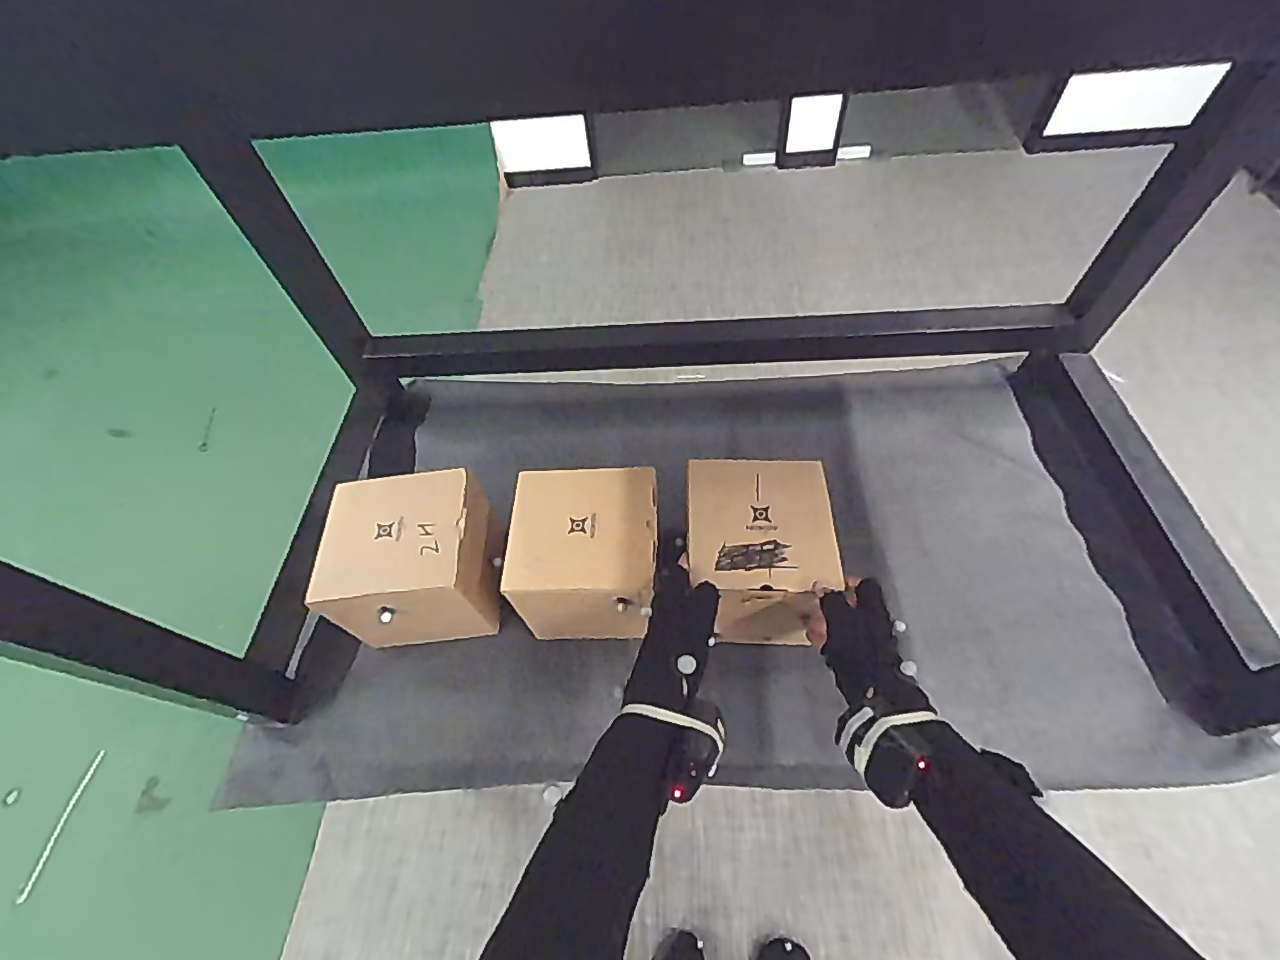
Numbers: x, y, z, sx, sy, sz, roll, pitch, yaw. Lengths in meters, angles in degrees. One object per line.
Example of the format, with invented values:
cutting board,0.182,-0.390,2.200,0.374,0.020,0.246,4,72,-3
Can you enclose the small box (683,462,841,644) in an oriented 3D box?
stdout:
small box,0.139,0.096,0.679,0.168,0.176,0.179,1,54,4
